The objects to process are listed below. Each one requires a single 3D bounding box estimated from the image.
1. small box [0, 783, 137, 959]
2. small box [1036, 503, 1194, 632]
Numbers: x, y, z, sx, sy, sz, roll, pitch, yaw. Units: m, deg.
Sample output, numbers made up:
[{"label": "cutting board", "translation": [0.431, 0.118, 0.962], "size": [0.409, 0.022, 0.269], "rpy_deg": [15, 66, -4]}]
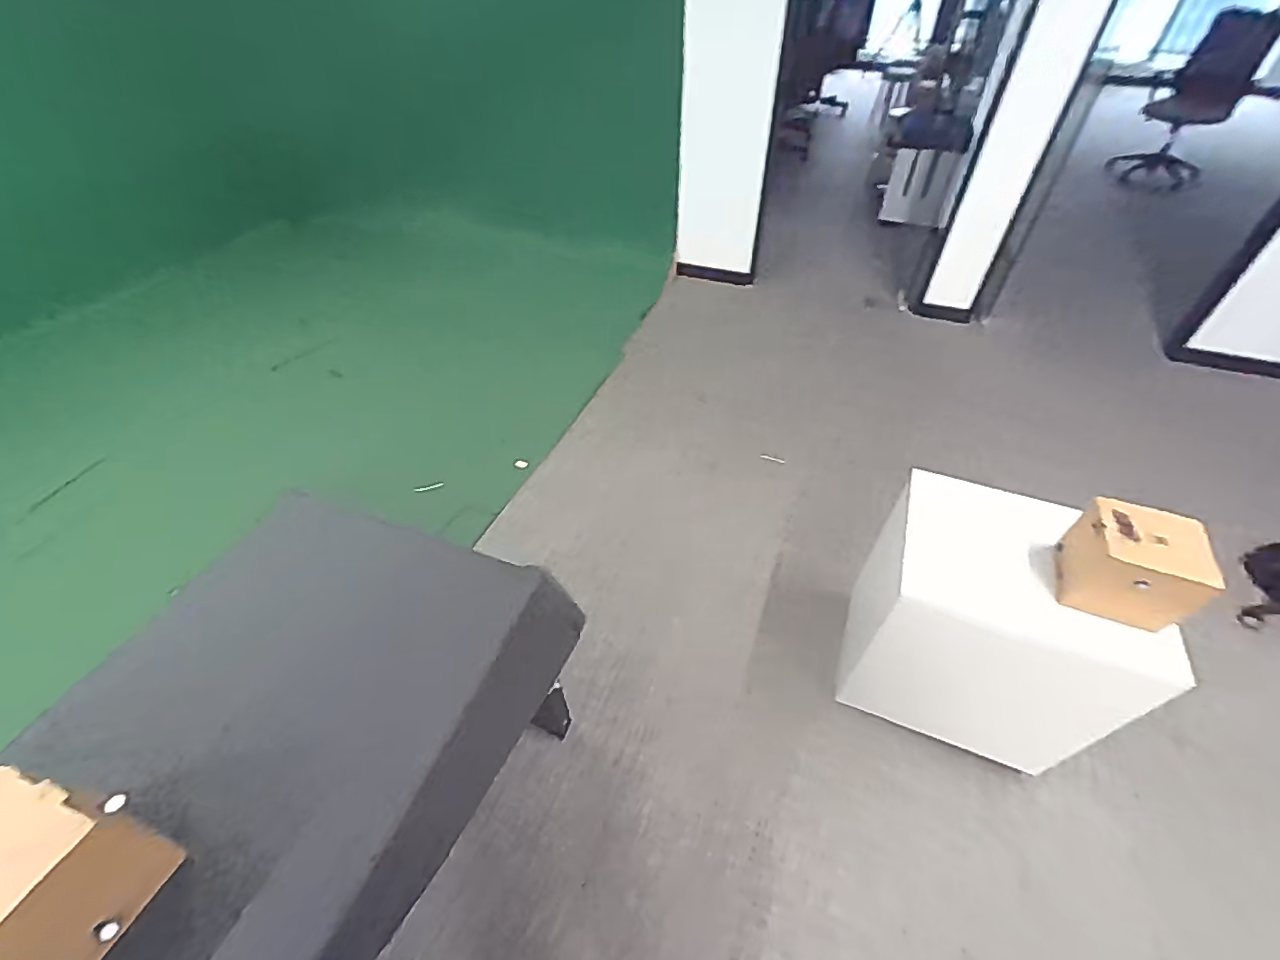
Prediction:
[{"label": "small box", "translation": [-0.693, 0.448, 0.566], "size": [0.168, 0.176, 0.179], "rpy_deg": [17, 46, 13]}, {"label": "small box", "translation": [0.937, 0.180, 1.094], "size": [0.179, 0.176, 0.168], "rpy_deg": [18, 48, 14]}]
